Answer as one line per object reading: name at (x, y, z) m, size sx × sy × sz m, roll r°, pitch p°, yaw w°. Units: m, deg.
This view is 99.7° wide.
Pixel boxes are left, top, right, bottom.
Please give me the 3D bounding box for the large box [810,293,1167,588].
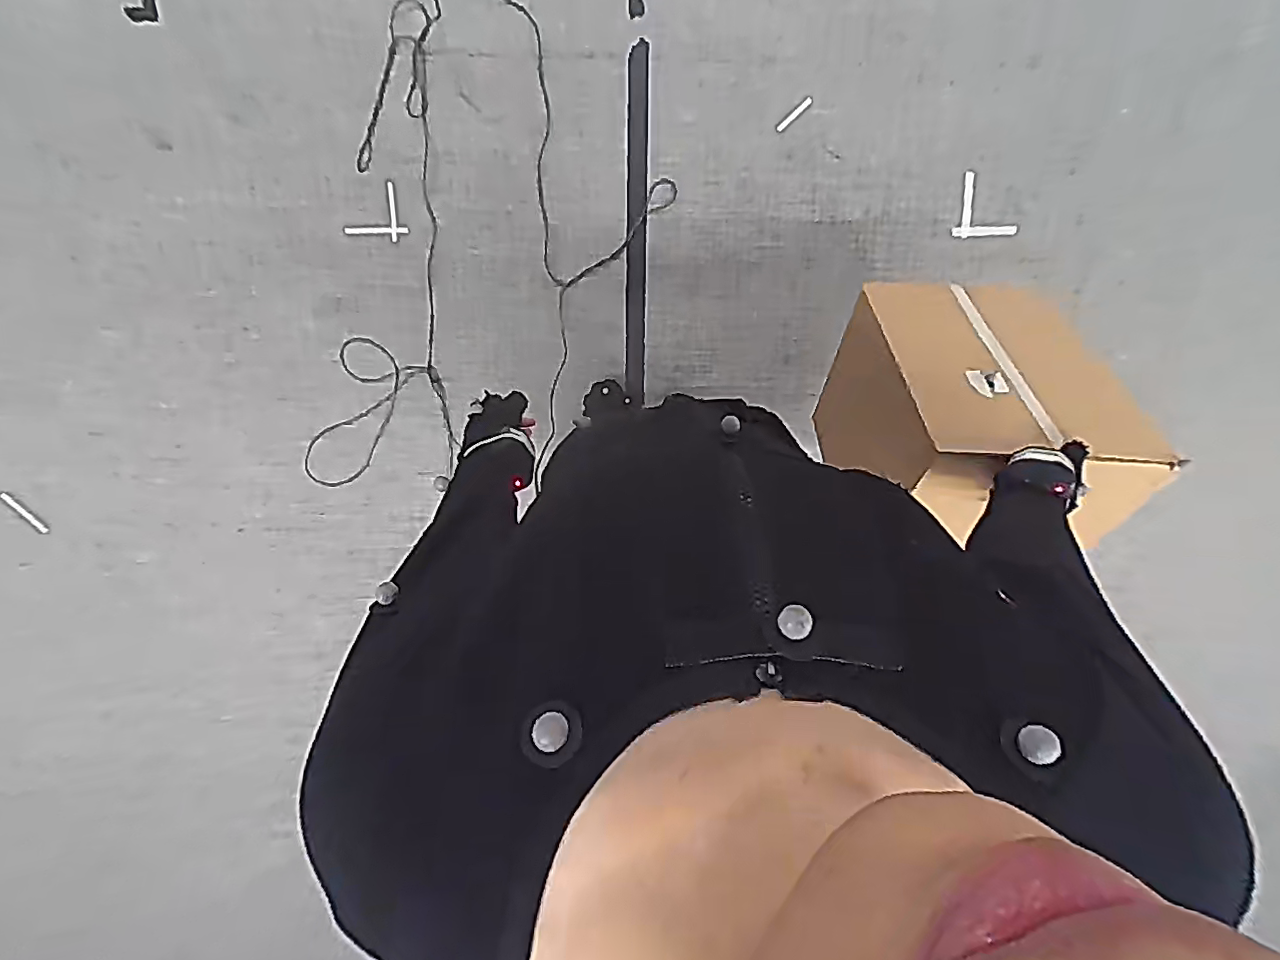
large box at (0.521, -0.069, 0.930) m, size 0.320 × 0.408 × 0.320 m, roll 2°, pitch 140°, yaw -1°
